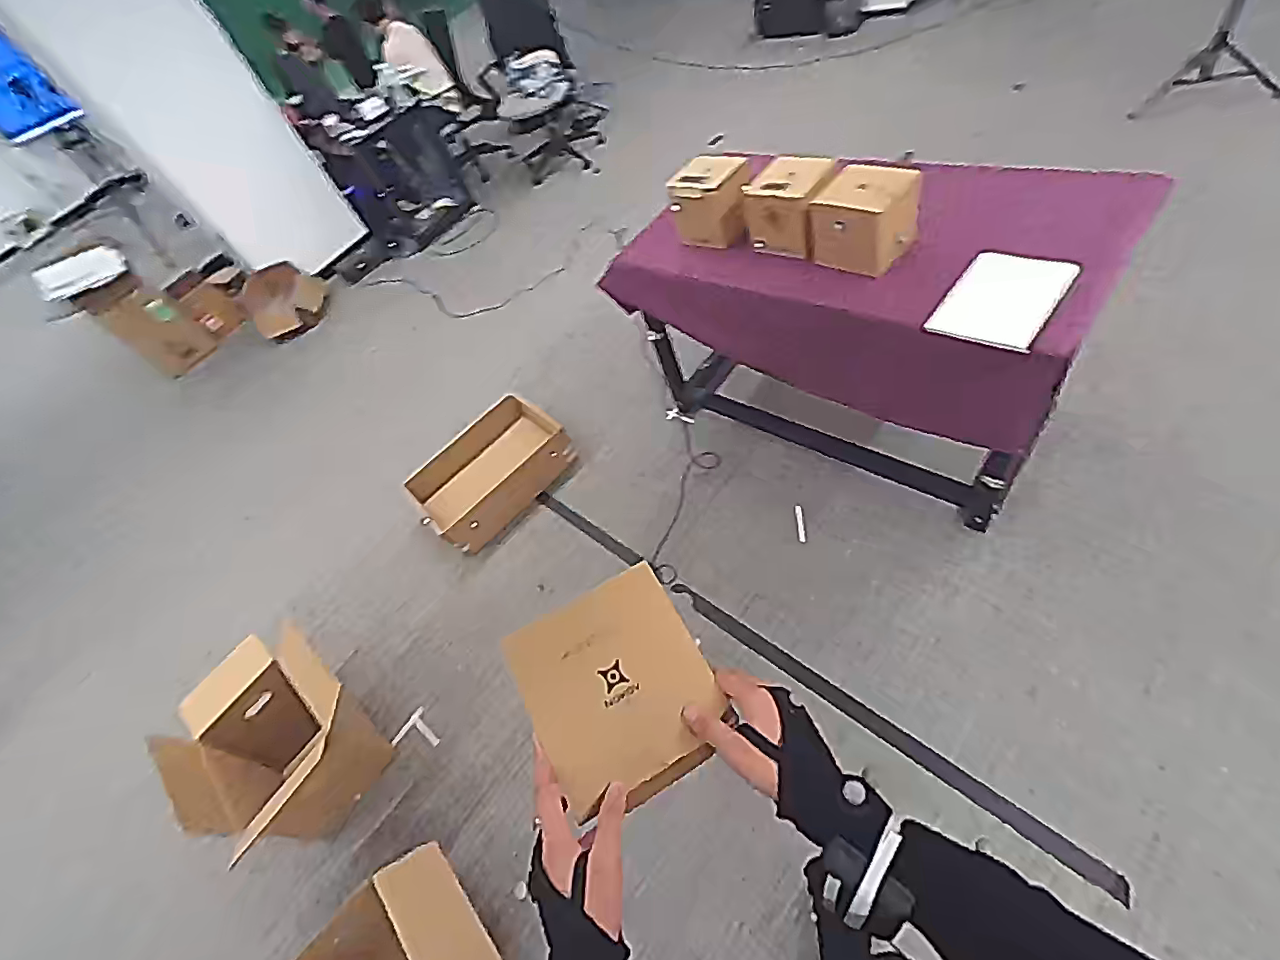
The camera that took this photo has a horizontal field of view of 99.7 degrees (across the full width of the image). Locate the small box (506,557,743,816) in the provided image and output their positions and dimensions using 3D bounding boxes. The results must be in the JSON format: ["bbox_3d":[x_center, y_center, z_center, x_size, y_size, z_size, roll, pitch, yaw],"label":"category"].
[{"bbox_3d":[-0.017,0.211,0.568,0.168,0.176,0.179,-26,67,-12],"label":"small box"}]
